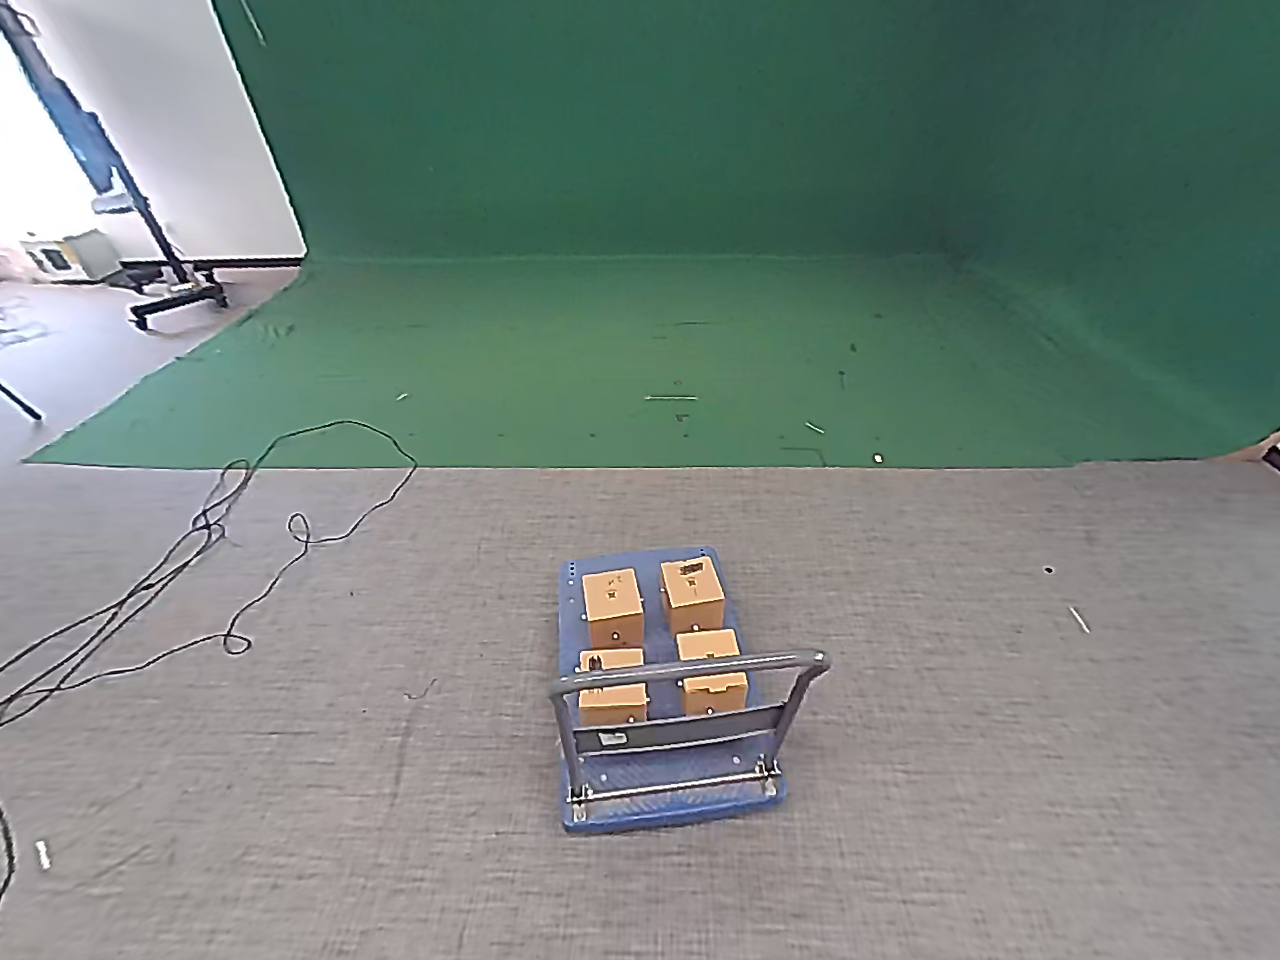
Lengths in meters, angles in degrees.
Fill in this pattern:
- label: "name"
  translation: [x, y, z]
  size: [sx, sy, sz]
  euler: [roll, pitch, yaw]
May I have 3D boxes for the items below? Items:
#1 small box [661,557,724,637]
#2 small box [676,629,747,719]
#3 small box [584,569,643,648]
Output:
- label: "small box"
  translation: [0.163, 0.378, 1.745]
  size: [0.168, 0.176, 0.179]
  euler: [-8, 42, -6]
- label: "small box"
  translation: [0.196, 0.552, 1.540]
  size: [0.168, 0.176, 0.179]
  euler: [-5, 41, -4]
- label: "small box"
  translation: [-0.084, 0.413, 1.712]
  size: [0.168, 0.176, 0.179]
  euler: [-7, 40, -8]
